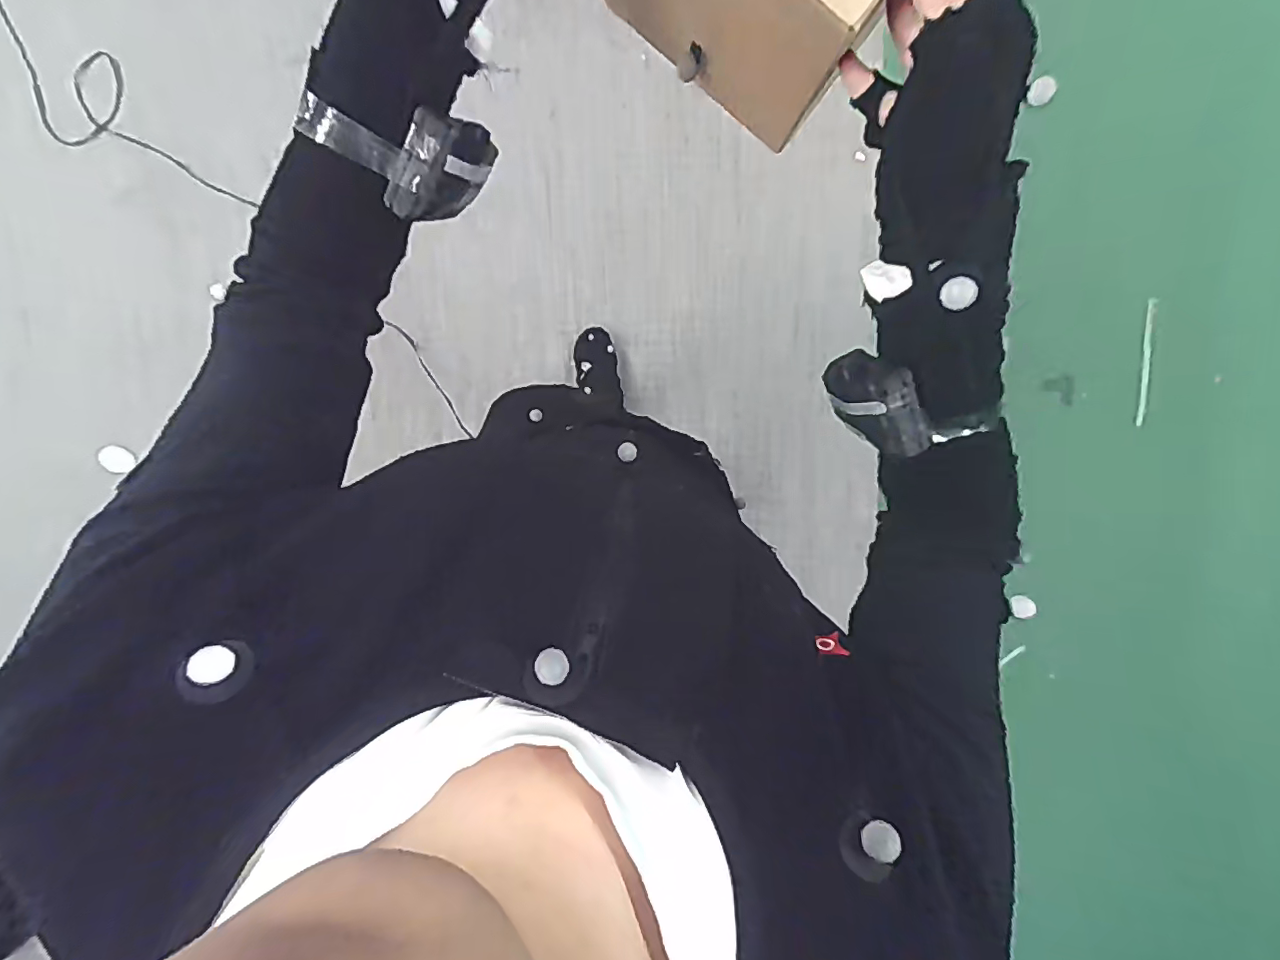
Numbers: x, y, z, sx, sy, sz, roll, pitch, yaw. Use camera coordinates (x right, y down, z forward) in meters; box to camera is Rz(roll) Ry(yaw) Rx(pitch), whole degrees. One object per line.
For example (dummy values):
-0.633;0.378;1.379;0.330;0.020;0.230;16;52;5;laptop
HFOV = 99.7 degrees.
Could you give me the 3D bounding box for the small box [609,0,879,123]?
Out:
0.082;-0.354;0.317;0.179;0.176;0.168;37;100;-7;small box
